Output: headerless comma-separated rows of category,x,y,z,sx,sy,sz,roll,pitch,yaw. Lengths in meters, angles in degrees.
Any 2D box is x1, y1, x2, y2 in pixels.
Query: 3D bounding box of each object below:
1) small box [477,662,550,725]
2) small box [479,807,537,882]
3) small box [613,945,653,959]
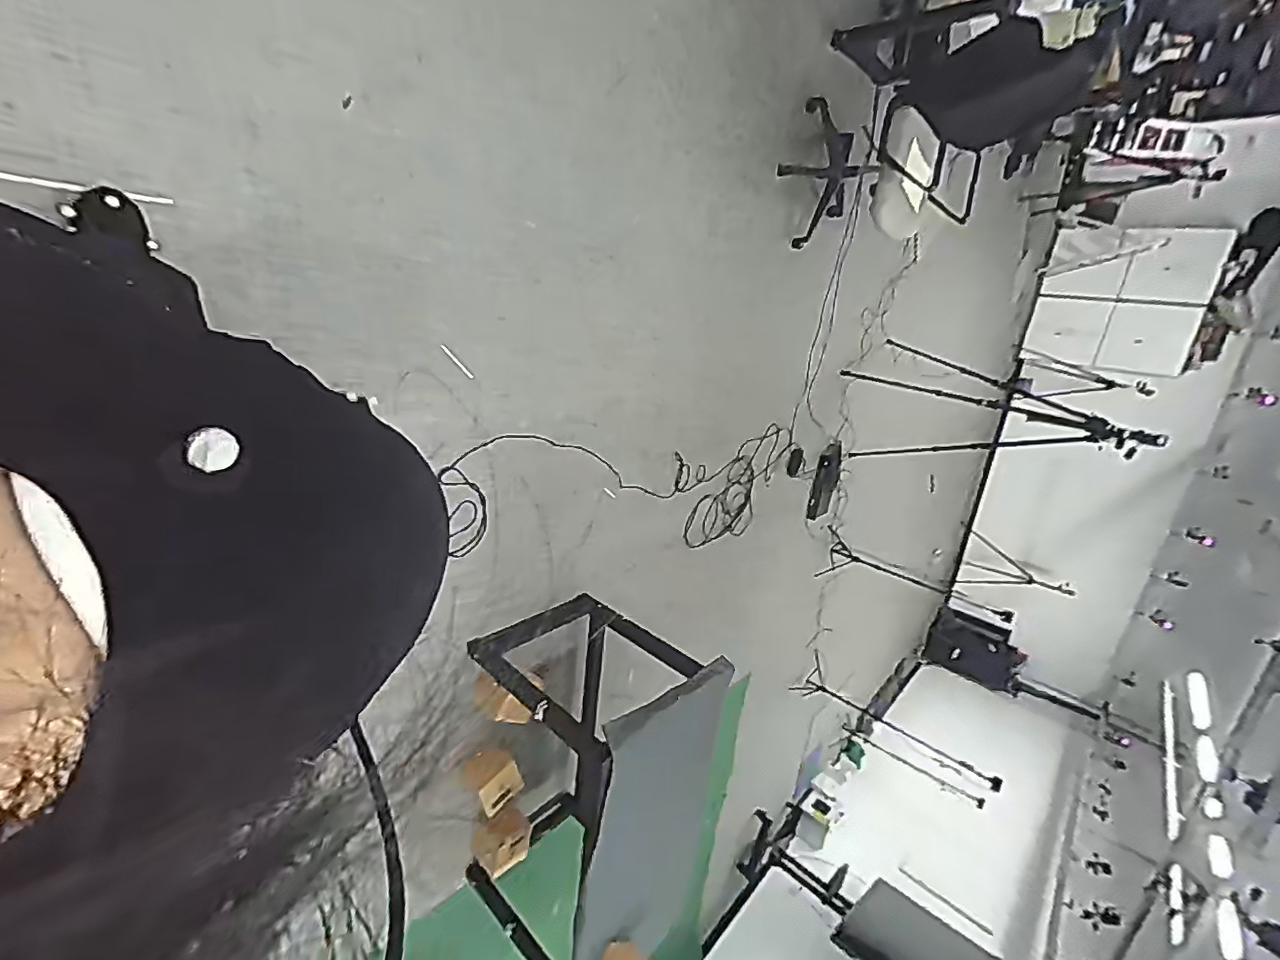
small box,-0.486,0.810,2.057,0.179,0.176,0.168,37,77,-51
small box,-0.557,1.513,2.265,0.168,0.176,0.179,-6,111,-48
small box,-0.022,1.695,1.799,0.168,0.176,0.179,-57,139,-20
